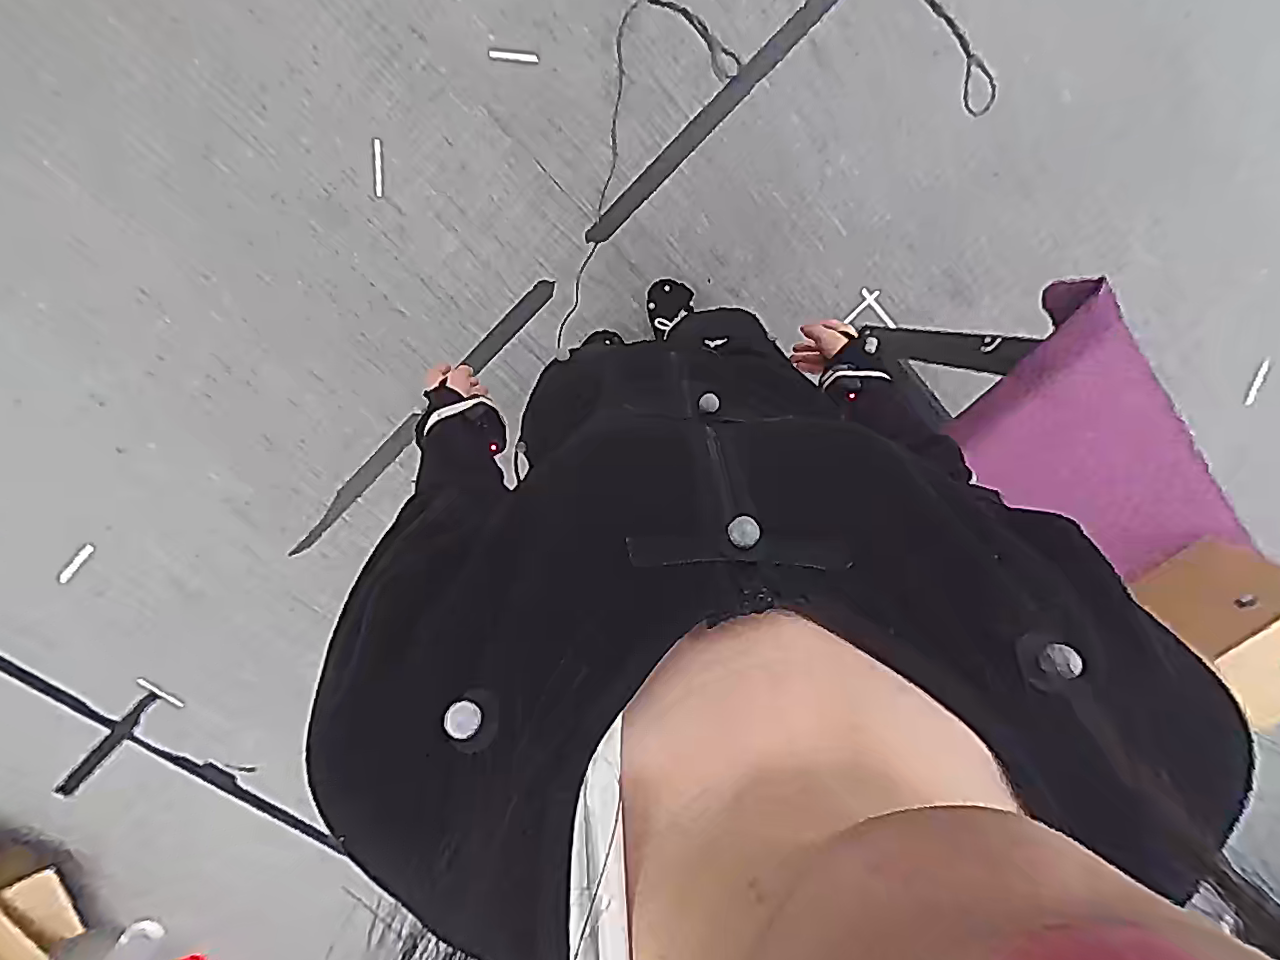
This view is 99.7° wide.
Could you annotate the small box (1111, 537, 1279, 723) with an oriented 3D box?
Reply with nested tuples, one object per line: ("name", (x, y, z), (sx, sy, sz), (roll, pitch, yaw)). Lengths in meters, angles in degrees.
("small box", (0.894, 0.218, 0.826), (0.179, 0.176, 0.168), (-41, 105, 10))
